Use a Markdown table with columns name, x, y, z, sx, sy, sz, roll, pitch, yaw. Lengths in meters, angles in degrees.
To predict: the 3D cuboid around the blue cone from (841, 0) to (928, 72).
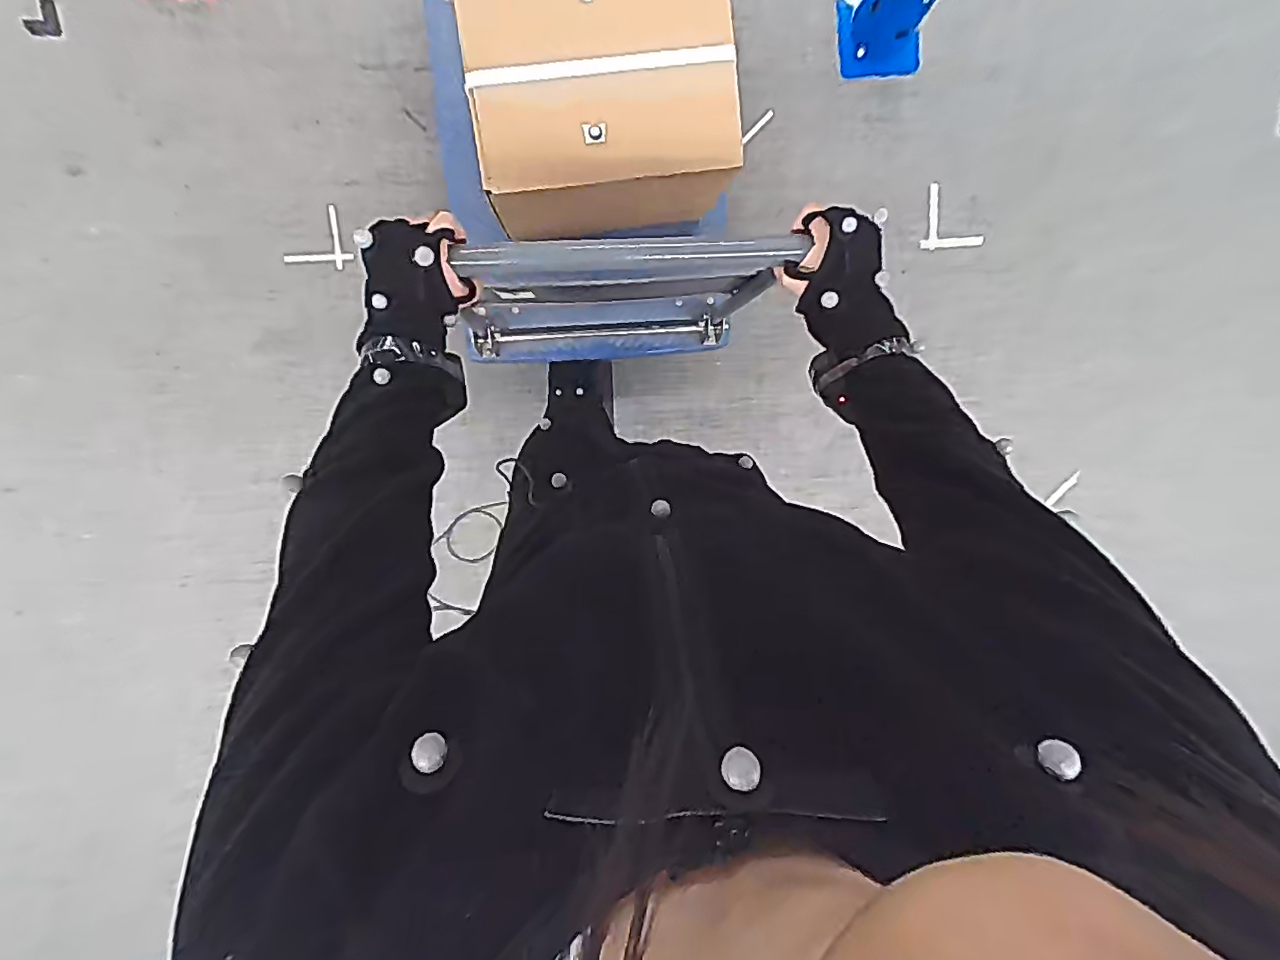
| name | x | y | z | sx | sy | sz | roll | pitch | yaw |
| --- | --- | --- | --- | --- | --- | --- | --- | --- | --- |
| blue cone | 0.588 | -1.046 | 1.118 | 0.193 | 0.380 | 0.192 | -7 | 100 | -6 |
